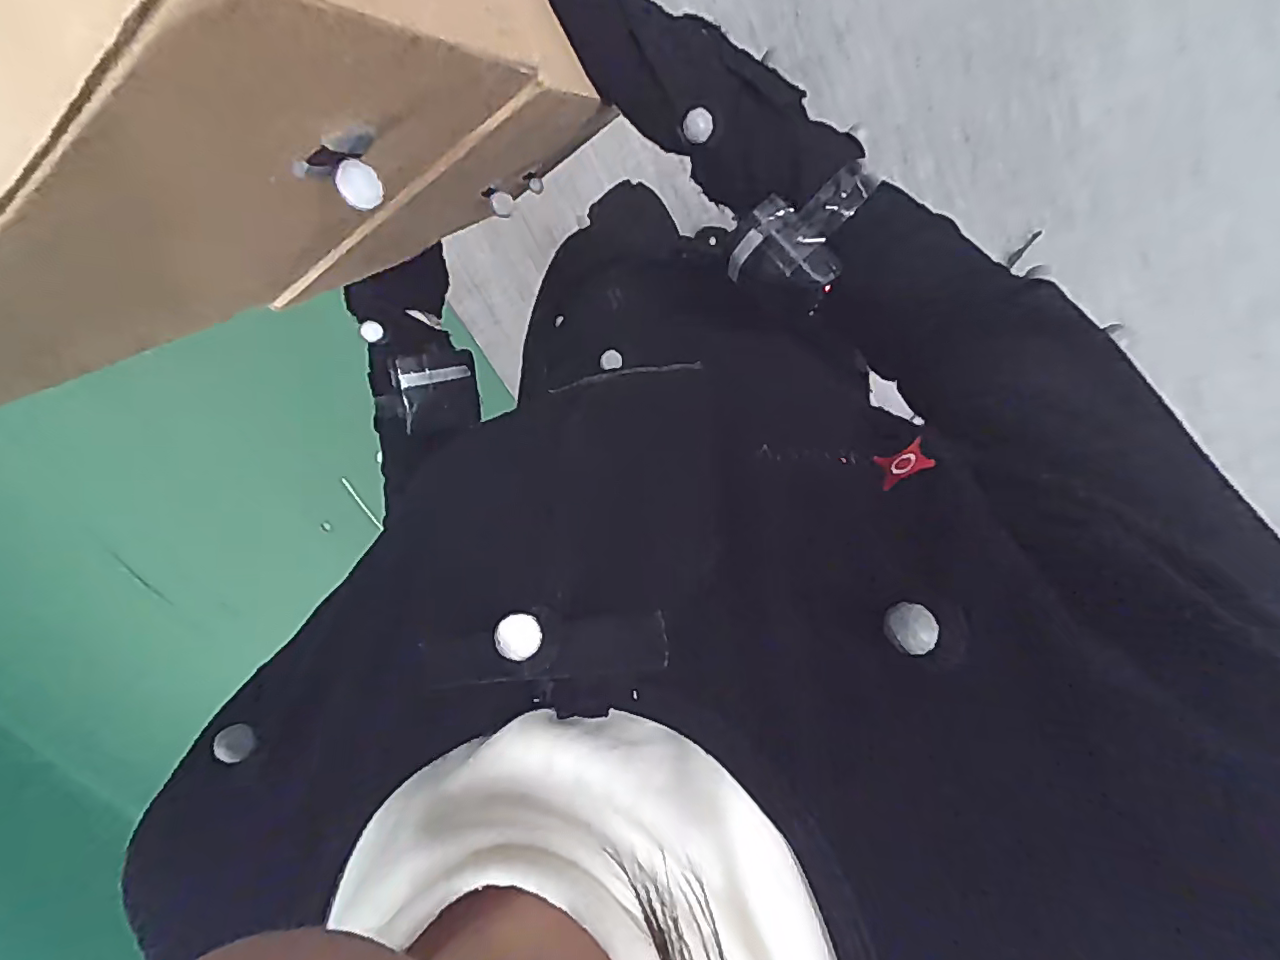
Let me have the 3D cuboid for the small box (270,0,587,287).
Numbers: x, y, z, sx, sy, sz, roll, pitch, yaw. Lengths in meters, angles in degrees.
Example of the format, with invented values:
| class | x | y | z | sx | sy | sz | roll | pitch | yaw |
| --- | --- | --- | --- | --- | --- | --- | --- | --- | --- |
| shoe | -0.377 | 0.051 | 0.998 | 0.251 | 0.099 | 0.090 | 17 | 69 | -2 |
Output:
| class | x | y | z | sx | sy | sz | roll | pitch | yaw |
| --- | --- | --- | --- | --- | --- | --- | --- | --- | --- |
| small box | -0.142 | -0.232 | 0.275 | 0.179 | 0.176 | 0.168 | -25 | 115 | 21 |

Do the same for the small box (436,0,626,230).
| class | x | y | z | sx | sy | sz | roll | pitch | yaw |
| --- | --- | --- | --- | --- | --- | --- | --- | --- | --- |
| small box | -0.124 | -0.326 | 0.408 | 0.179 | 0.176 | 0.168 | -30 | 114 | 23 |

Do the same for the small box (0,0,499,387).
| class | x | y | z | sx | sy | sz | roll | pitch | yaw |
| --- | --- | --- | --- | --- | --- | --- | --- | --- | --- |
| small box | -0.159 | -0.148 | 0.138 | 0.179 | 0.176 | 0.168 | -25 | 115 | 23 |
